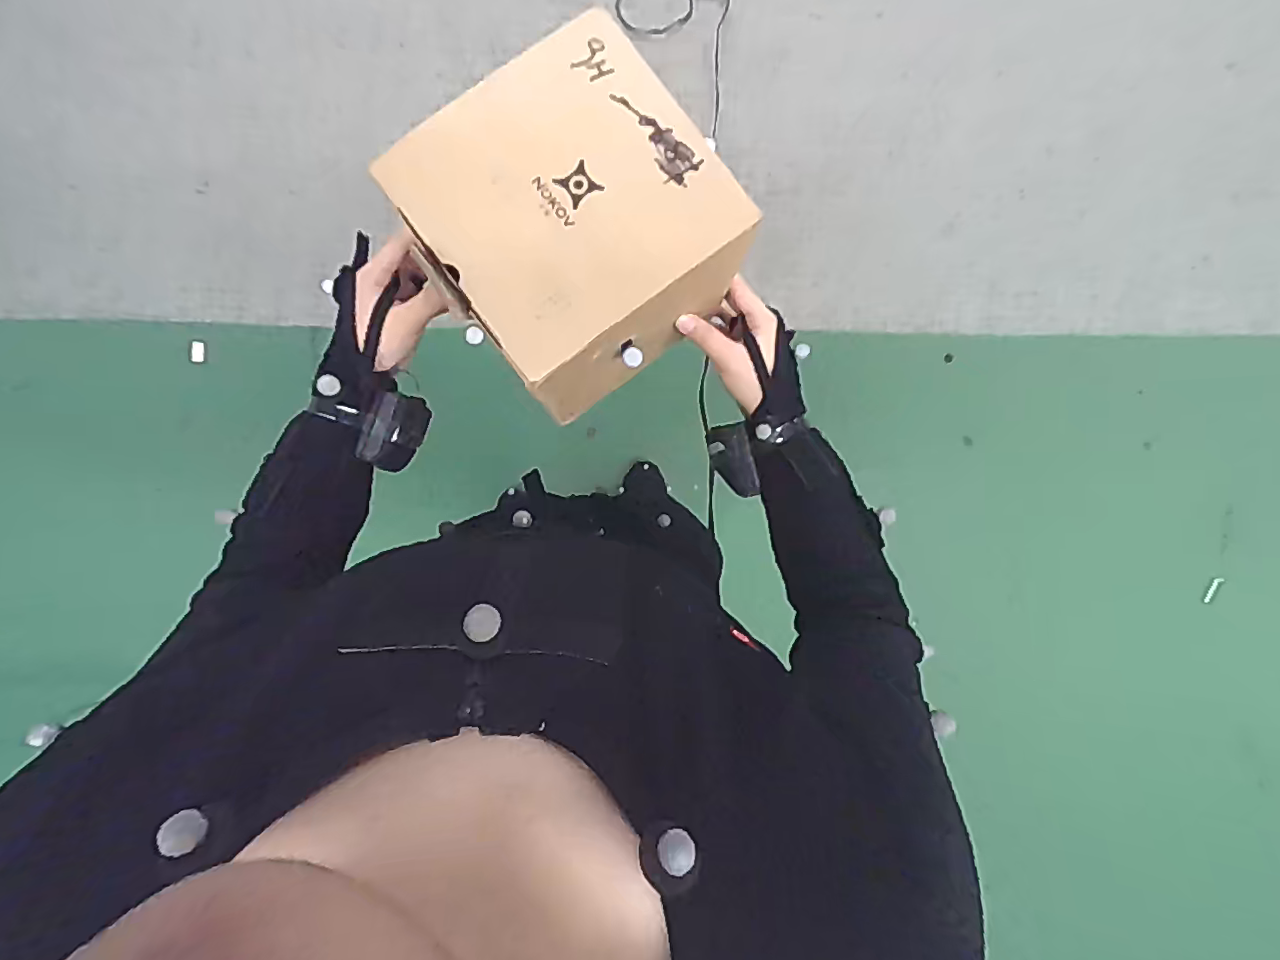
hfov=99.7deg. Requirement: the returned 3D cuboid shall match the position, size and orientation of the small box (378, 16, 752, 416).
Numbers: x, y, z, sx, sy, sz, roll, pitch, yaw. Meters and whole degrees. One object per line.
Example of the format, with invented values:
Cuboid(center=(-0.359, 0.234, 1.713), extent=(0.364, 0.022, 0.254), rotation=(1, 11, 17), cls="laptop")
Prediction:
Cuboid(center=(-0.046, -0.168, 0.408), extent=(0.179, 0.176, 0.168), rotation=(-37, 89, -2), cls="small box")
